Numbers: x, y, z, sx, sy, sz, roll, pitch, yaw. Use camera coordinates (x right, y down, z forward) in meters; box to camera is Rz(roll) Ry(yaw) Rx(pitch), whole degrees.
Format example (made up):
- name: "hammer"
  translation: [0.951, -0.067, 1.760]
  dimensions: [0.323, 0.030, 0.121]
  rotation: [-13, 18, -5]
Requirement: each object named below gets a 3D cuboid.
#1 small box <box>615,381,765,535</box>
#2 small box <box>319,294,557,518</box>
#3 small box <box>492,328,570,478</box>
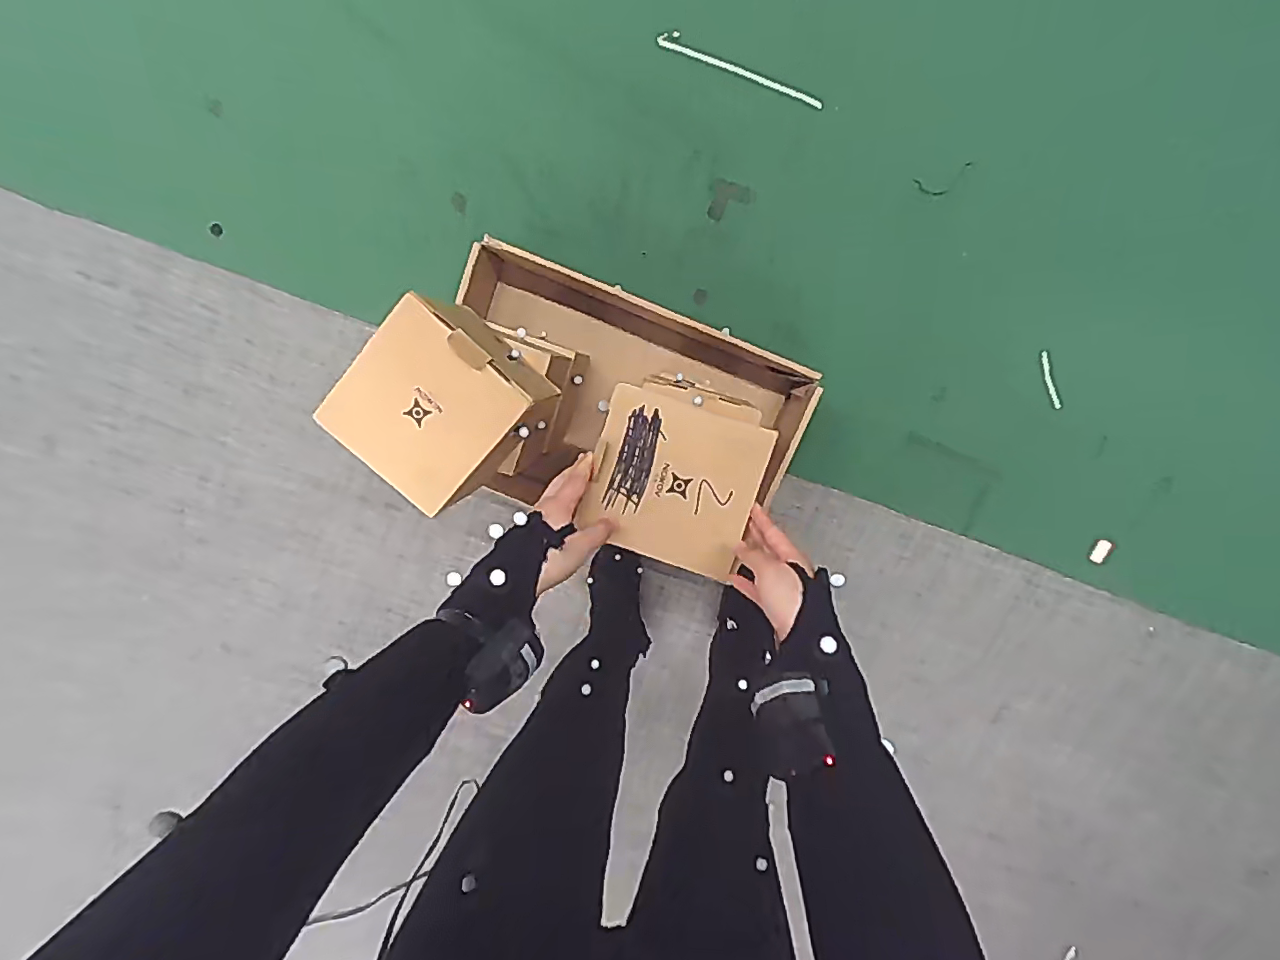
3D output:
- name: "small box"
  translation: [0.071, -0.044, 0.804]
  dimensions: [0.168, 0.176, 0.179]
  rotation: [16, 103, 2]
- name: "small box"
  translation: [-0.220, -0.086, 0.640]
  dimensions: [0.168, 0.176, 0.179]
  rotation: [42, 99, -6]
- name: "small box"
  translation: [-0.214, -0.124, 0.798]
  dimensions: [0.168, 0.176, 0.179]
  rotation: [21, 100, -3]
